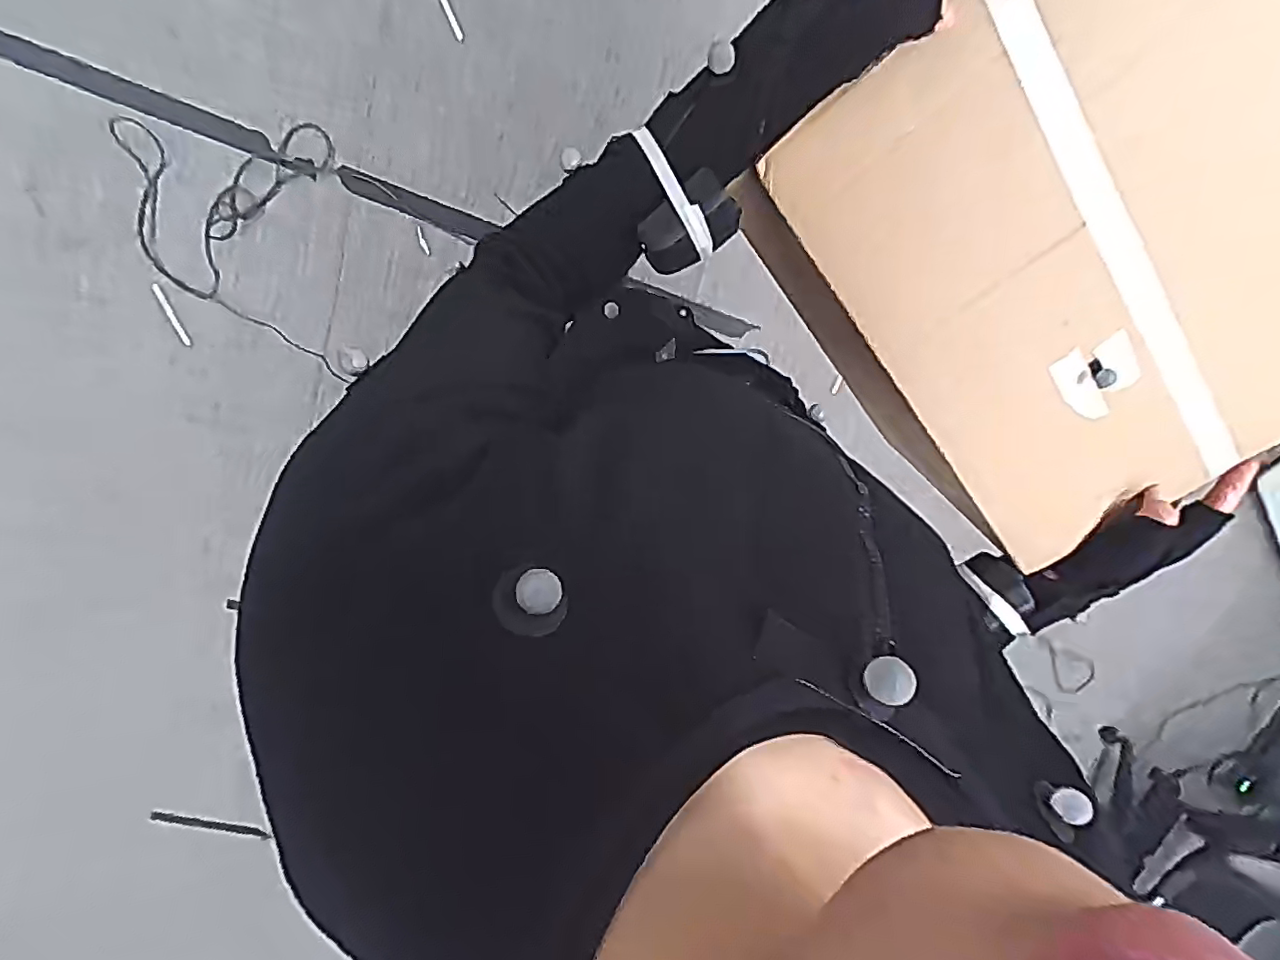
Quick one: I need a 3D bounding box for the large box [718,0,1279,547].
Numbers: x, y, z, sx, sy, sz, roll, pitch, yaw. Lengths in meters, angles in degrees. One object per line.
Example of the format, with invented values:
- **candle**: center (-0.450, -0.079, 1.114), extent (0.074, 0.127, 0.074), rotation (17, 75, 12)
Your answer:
- **large box**: center (0.323, -0.226, 0.507), extent (0.320, 0.320, 0.408), rotation (-36, 109, 19)
